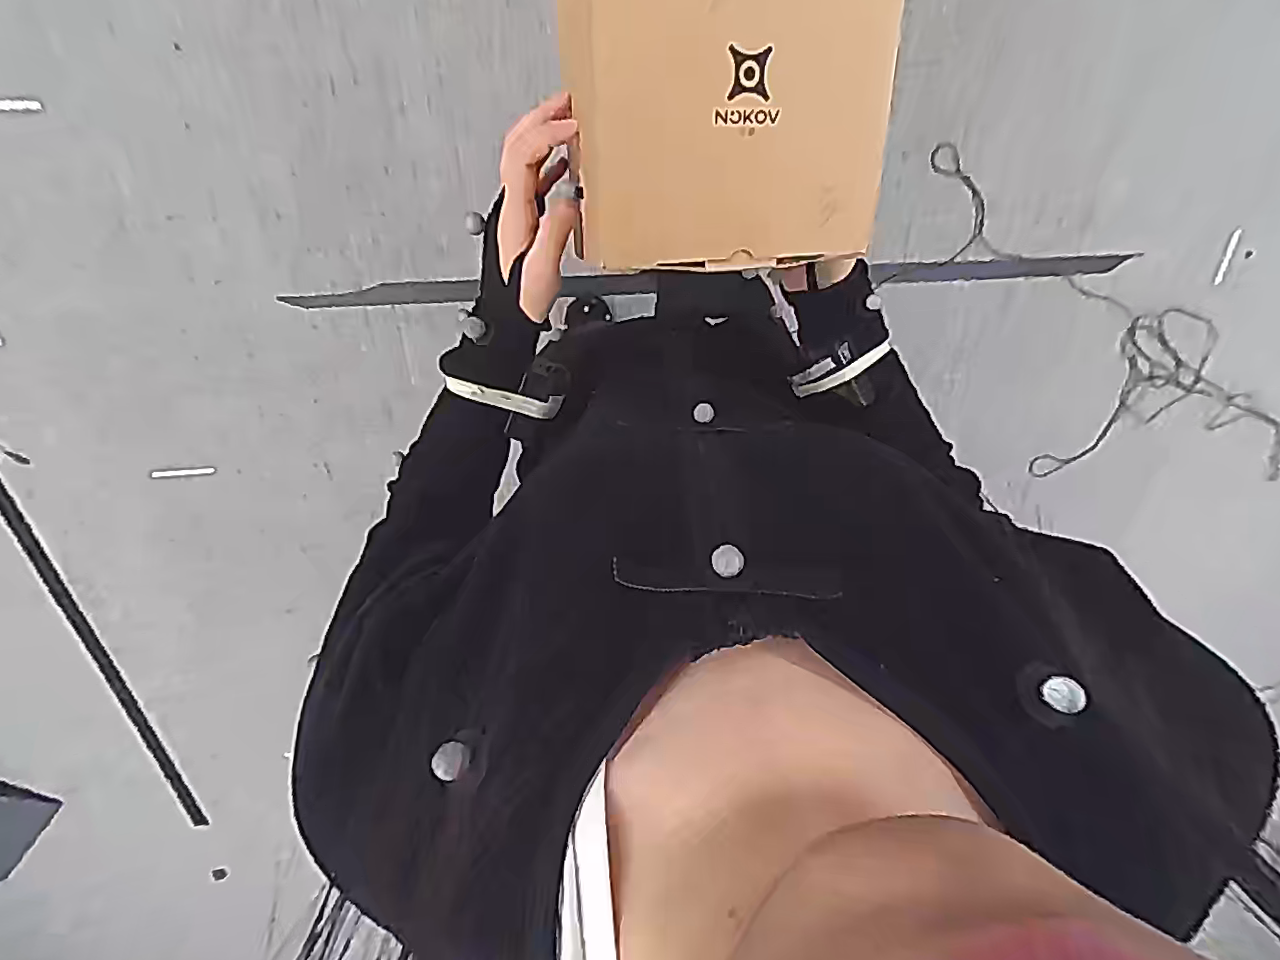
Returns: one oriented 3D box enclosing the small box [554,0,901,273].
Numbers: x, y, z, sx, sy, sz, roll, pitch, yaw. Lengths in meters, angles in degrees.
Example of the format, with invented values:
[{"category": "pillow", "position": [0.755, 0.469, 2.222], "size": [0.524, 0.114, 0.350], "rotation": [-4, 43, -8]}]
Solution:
[{"category": "small box", "position": [0.039, -0.240, 0.353], "size": [0.168, 0.176, 0.179], "rotation": [-8, 116, -10]}]
